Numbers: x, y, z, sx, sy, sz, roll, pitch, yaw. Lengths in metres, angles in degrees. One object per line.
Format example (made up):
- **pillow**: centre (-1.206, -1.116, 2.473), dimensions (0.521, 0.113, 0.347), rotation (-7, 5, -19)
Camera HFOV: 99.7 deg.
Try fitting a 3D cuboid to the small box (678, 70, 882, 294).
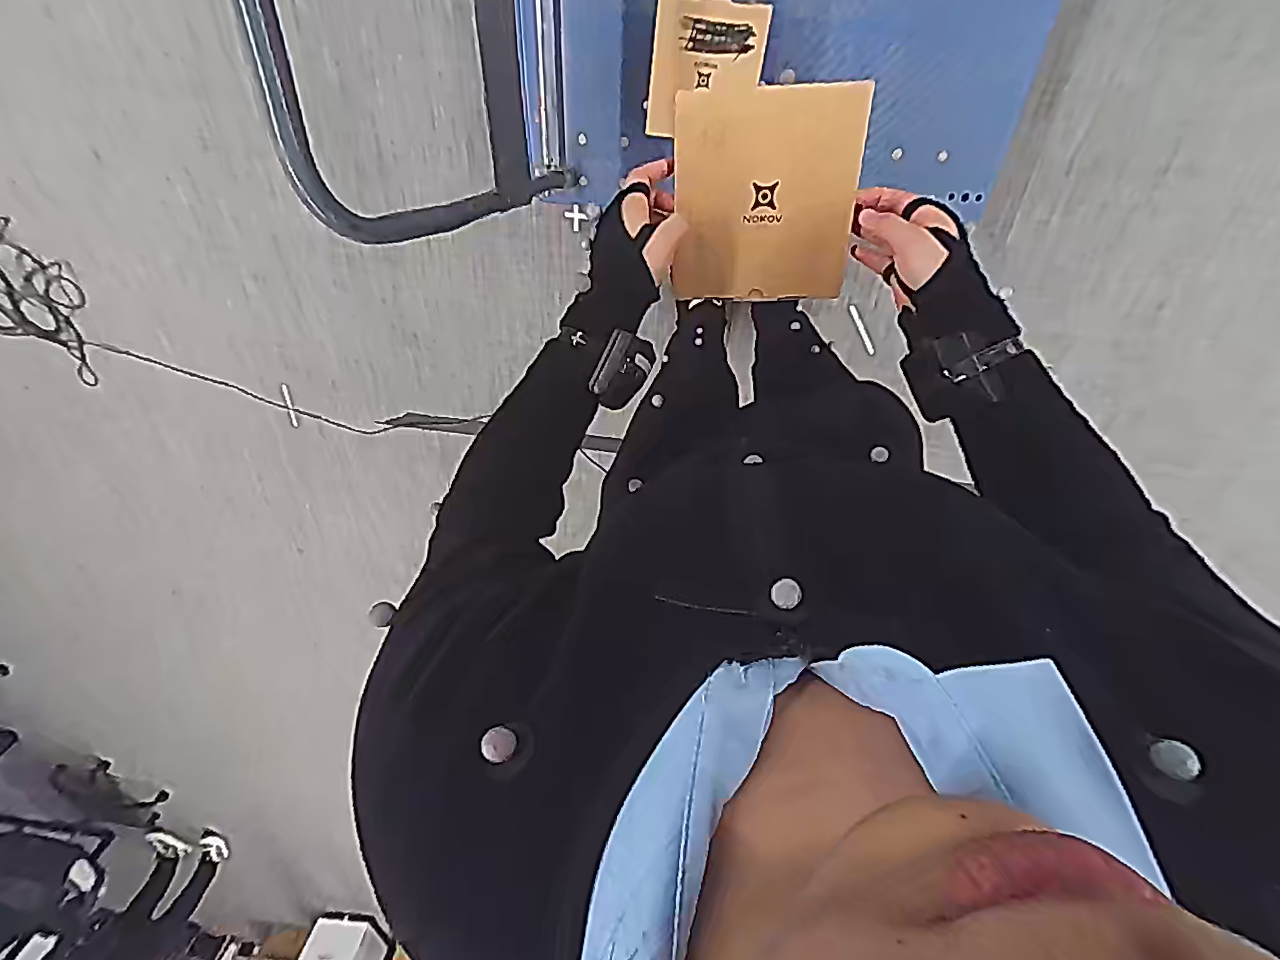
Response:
- **small box**: centre (0.123, -0.300, 0.553), dimensions (0.168, 0.176, 0.179), rotation (1, 123, 5)
